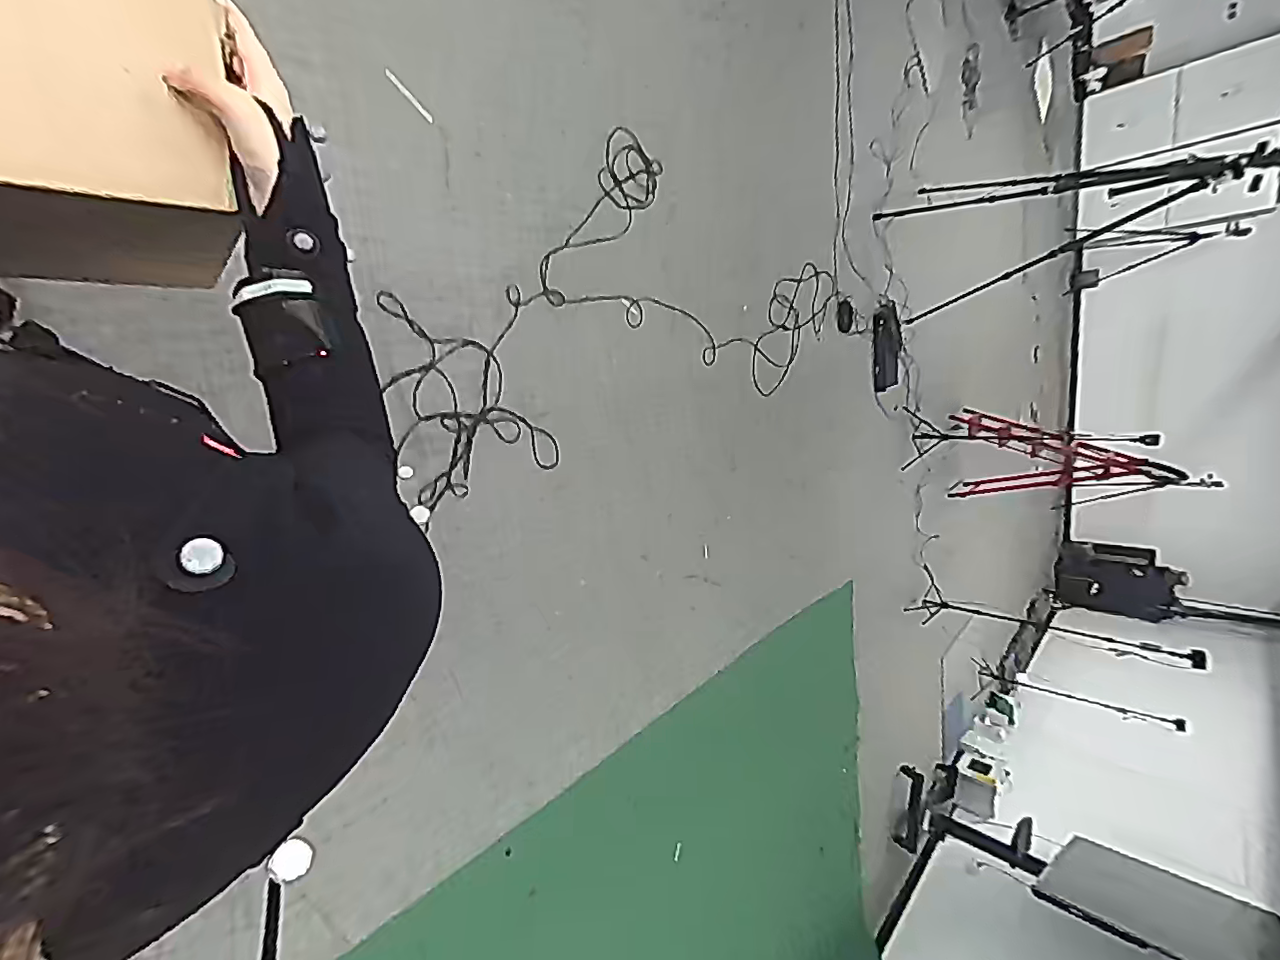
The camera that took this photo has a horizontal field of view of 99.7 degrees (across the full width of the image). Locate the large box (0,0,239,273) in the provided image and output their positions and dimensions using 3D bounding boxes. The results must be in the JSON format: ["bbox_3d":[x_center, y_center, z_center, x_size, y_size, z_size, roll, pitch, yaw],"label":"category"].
[{"bbox_3d":[-0.571,-0.342,0.381,0.408,0.320,0.320,-13,102,-40],"label":"large box"}]
